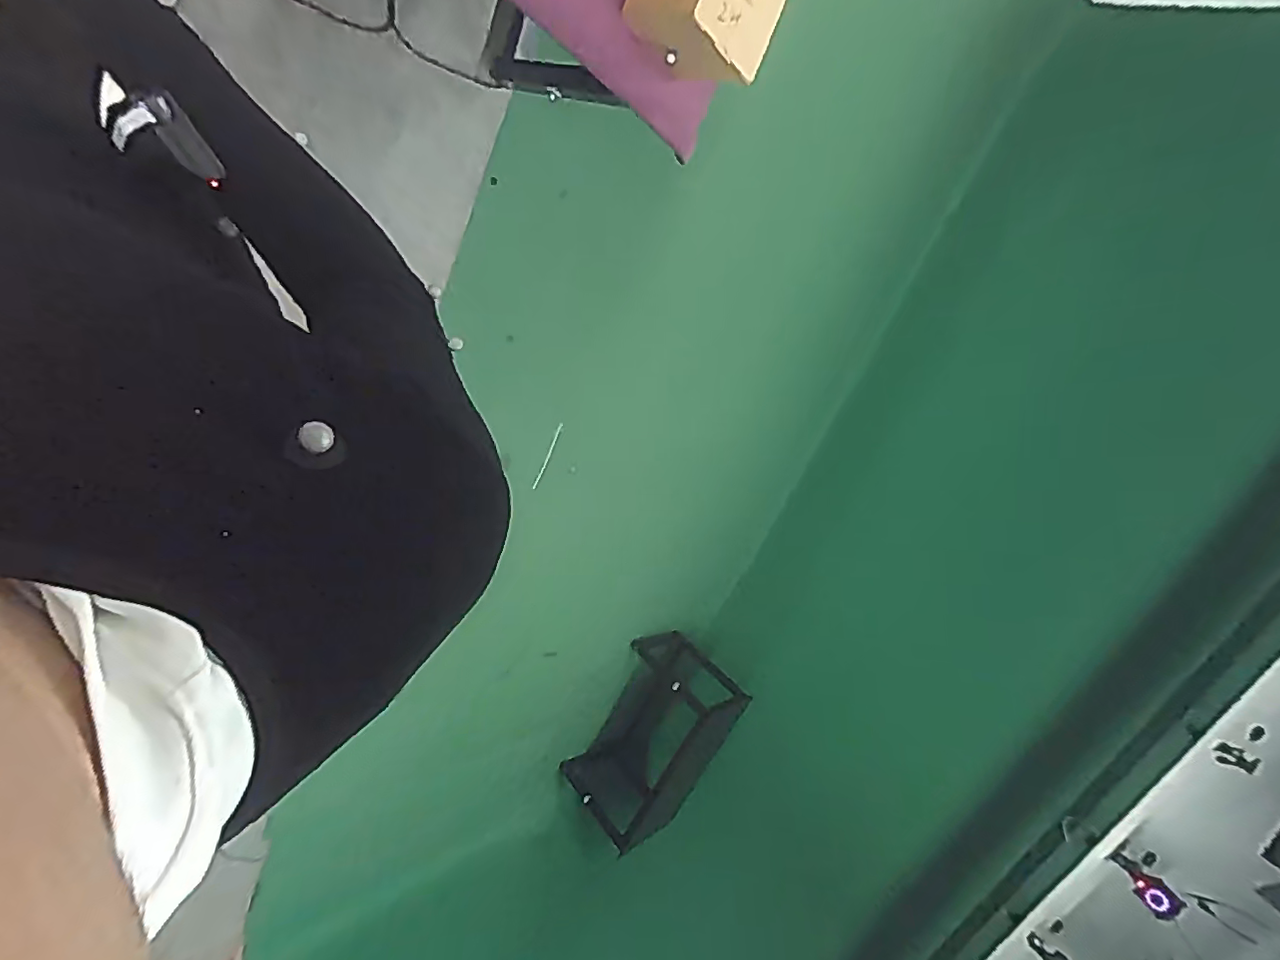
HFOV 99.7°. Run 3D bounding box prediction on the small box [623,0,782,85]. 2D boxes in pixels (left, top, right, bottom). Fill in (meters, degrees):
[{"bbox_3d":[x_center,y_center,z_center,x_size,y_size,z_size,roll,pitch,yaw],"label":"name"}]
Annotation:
[{"bbox_3d":[0.101,-0.763,0.844,0.168,0.176,0.179,5,115,-49],"label":"small box"}]
